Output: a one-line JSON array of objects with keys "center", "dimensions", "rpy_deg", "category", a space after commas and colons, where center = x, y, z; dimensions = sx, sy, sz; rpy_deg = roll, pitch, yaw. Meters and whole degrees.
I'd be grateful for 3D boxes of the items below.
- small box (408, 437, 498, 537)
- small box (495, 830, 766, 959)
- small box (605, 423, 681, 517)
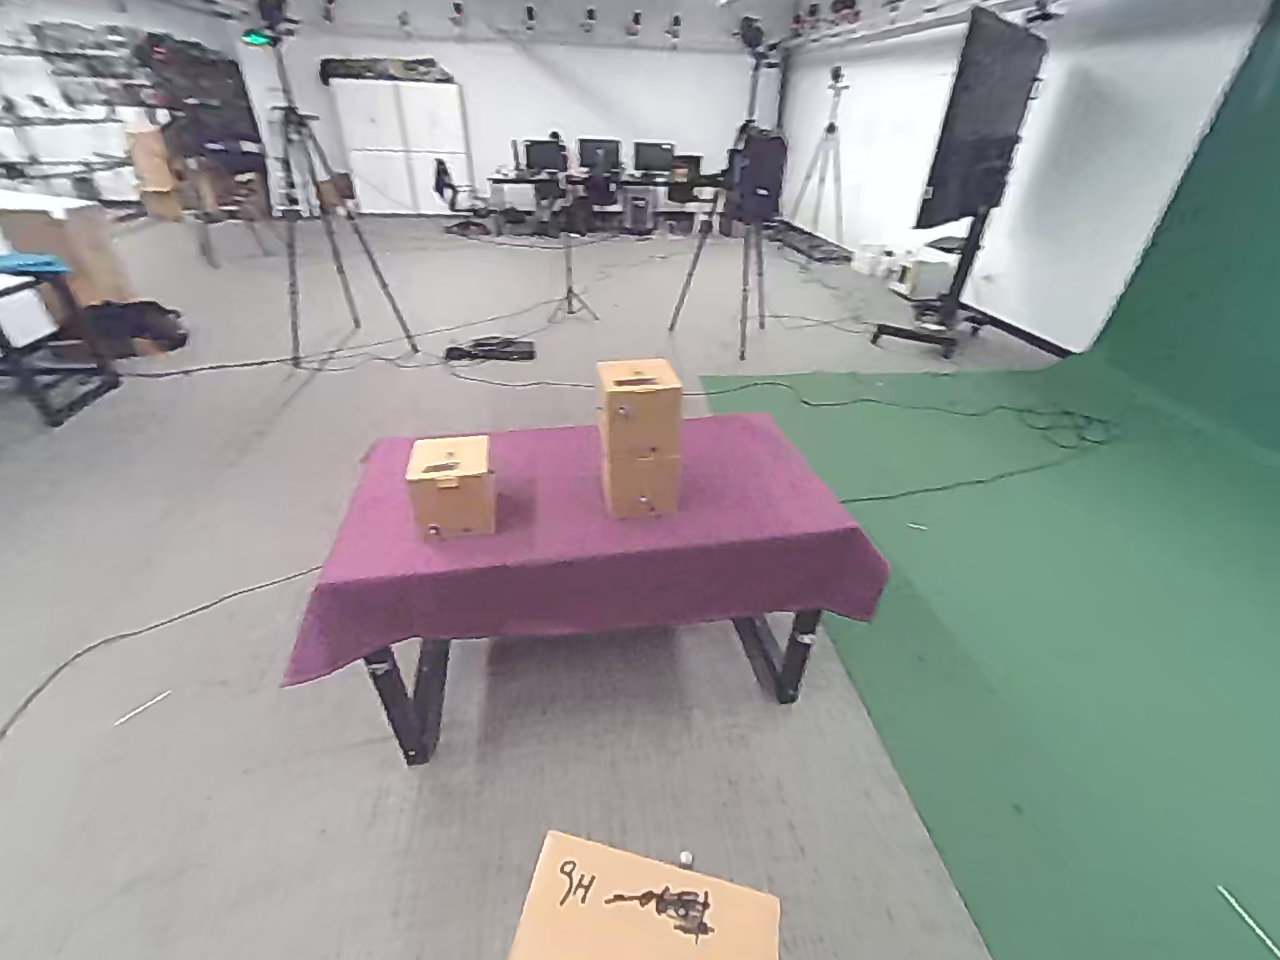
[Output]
[{"center": [-0.423, 0.019, 1.253], "dimensions": [0.168, 0.176, 0.179], "rpy_deg": [-5, 33, -10], "category": "small box"}, {"center": [-0.017, 0.377, 0.375], "dimensions": [0.168, 0.176, 0.179], "rpy_deg": [11, 49, 7], "category": "small box"}, {"center": [0.000, -0.027, 1.335], "dimensions": [0.168, 0.176, 0.179], "rpy_deg": [-4, 34, -7], "category": "small box"}]
